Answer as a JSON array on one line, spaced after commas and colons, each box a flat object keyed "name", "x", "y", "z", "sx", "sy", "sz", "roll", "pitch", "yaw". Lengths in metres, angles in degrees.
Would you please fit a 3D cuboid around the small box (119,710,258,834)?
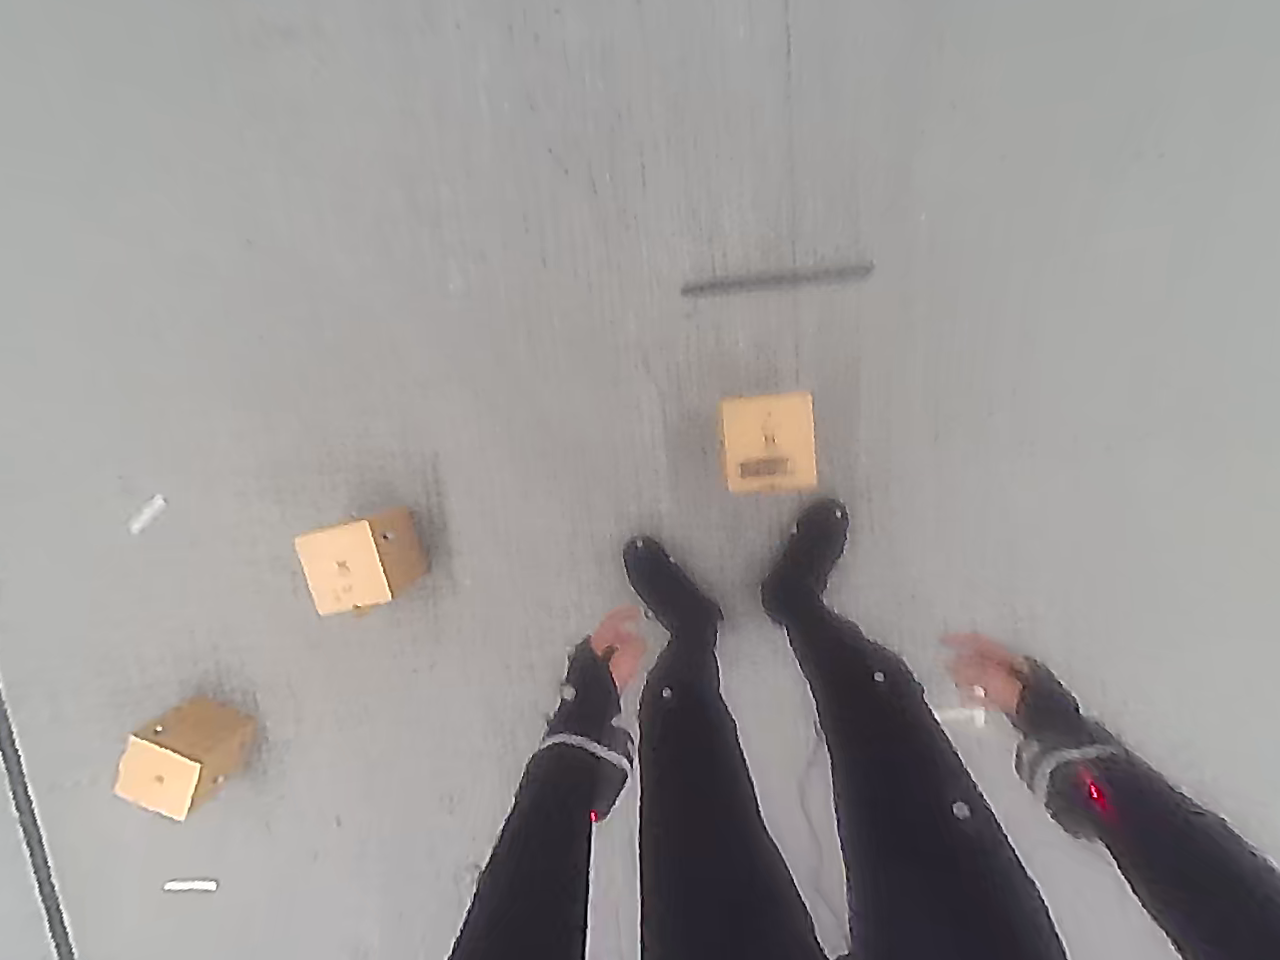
[{"name": "small box", "x": -1.058, "y": 0.680, "z": 1.281, "sx": 0.179, "sy": 0.176, "sz": 0.168, "roll": 22, "pitch": 99, "yaw": 1}]

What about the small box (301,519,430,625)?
[{"name": "small box", "x": -0.590, "y": 0.191, "z": 1.182, "sx": 0.168, "sy": 0.176, "sz": 0.179, "roll": -13, "pitch": 97, "yaw": 5}]
